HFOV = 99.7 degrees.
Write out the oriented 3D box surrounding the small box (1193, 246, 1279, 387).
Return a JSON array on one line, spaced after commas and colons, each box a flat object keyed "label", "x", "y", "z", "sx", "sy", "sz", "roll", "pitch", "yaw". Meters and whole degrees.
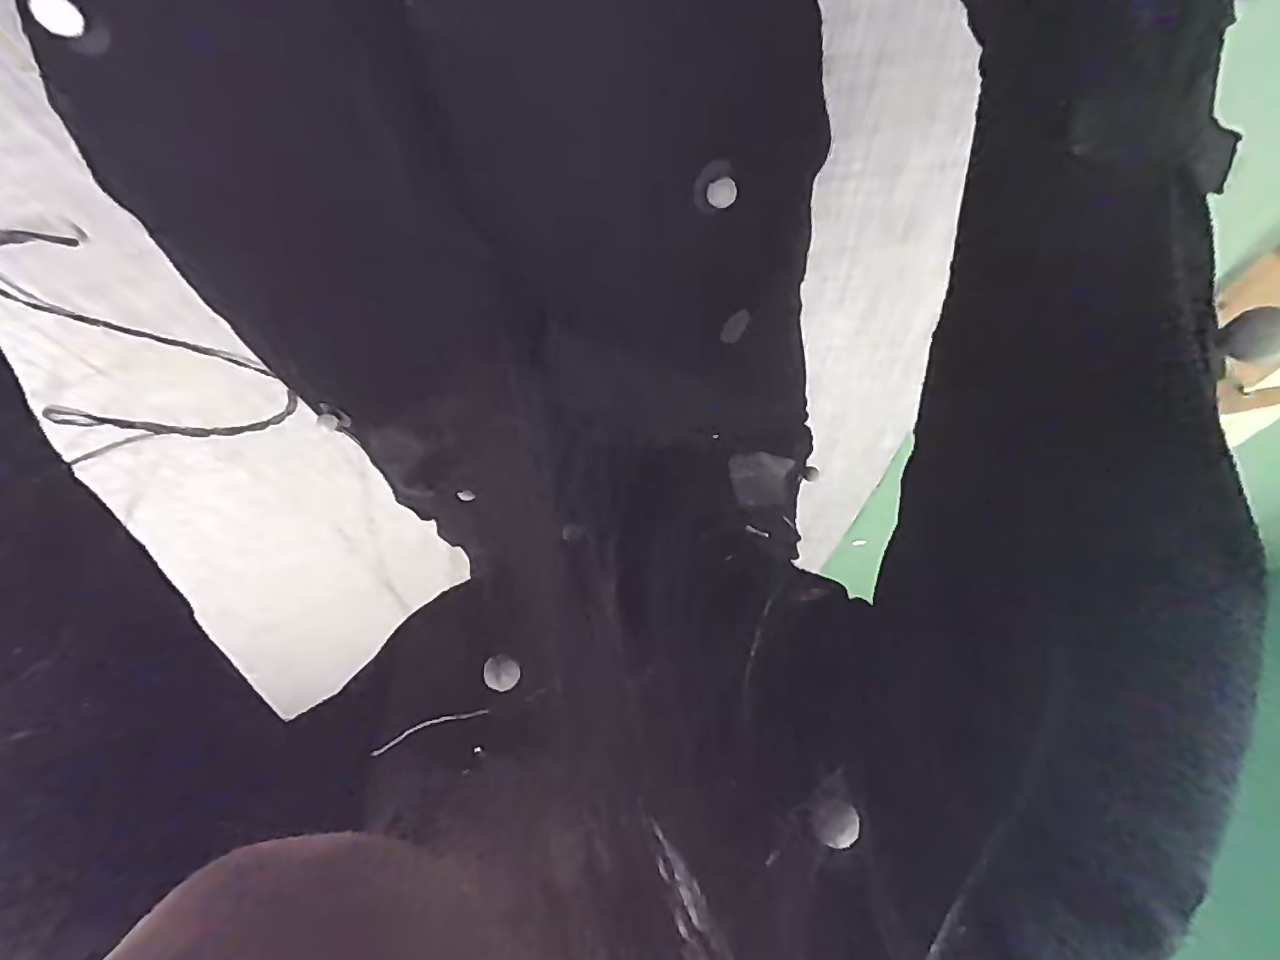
[{"label": "small box", "x": 1.113, "y": -0.285, "z": 0.904, "sx": 0.179, "sy": 0.176, "sz": 0.168, "roll": -11, "pitch": 151, "yaw": 1}]
